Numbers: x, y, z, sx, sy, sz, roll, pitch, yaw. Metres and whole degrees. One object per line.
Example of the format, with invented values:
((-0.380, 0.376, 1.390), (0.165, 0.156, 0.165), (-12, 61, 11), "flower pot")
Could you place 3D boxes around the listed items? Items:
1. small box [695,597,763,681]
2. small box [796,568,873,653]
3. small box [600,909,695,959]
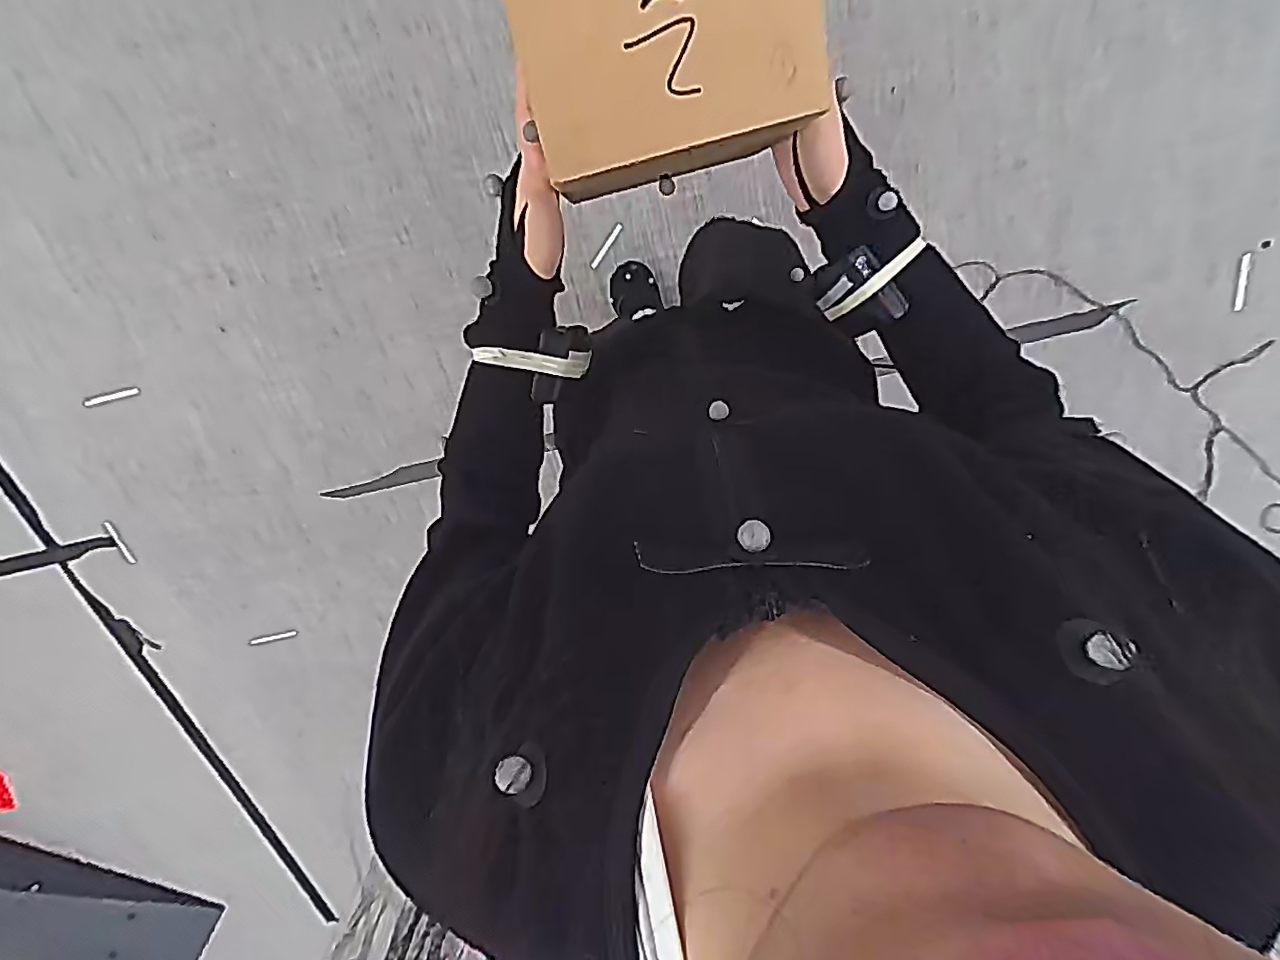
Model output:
((0.266, 0.474, 1.642), (0.168, 0.176, 0.179), (-12, 112, 4), "small box")
((0.574, 0.379, 1.612), (0.168, 0.176, 0.179), (-13, 112, 3), "small box")
((0.018, 0.981, 1.049), (0.179, 0.176, 0.168), (-12, 112, 3), "small box")
